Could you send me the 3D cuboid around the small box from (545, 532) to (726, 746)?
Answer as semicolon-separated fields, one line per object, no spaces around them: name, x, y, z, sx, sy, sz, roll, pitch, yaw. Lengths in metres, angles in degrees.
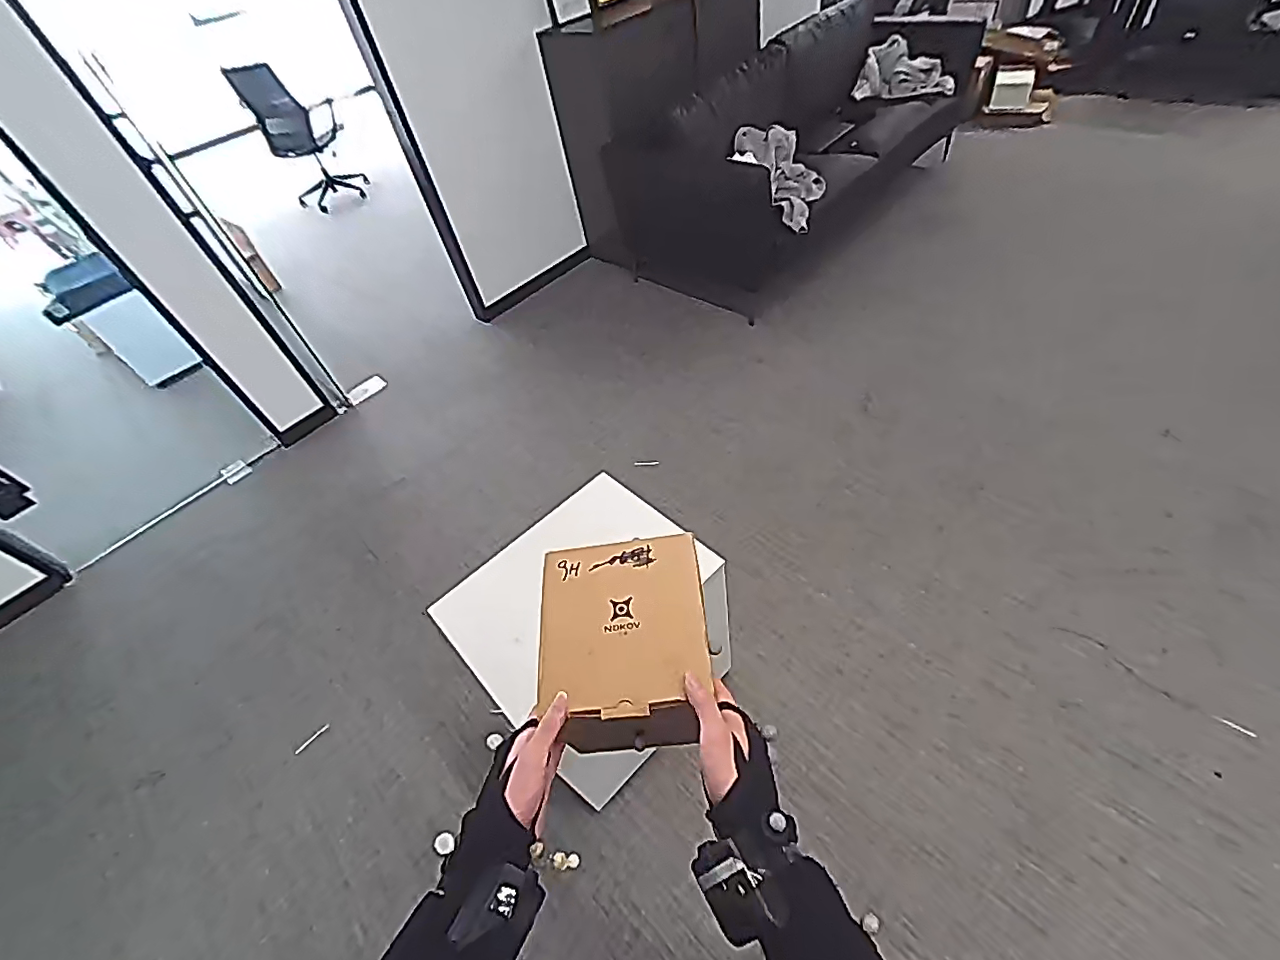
small box;-0.001;0.186;0.606;0.168;0.176;0.179;-10;52;4
